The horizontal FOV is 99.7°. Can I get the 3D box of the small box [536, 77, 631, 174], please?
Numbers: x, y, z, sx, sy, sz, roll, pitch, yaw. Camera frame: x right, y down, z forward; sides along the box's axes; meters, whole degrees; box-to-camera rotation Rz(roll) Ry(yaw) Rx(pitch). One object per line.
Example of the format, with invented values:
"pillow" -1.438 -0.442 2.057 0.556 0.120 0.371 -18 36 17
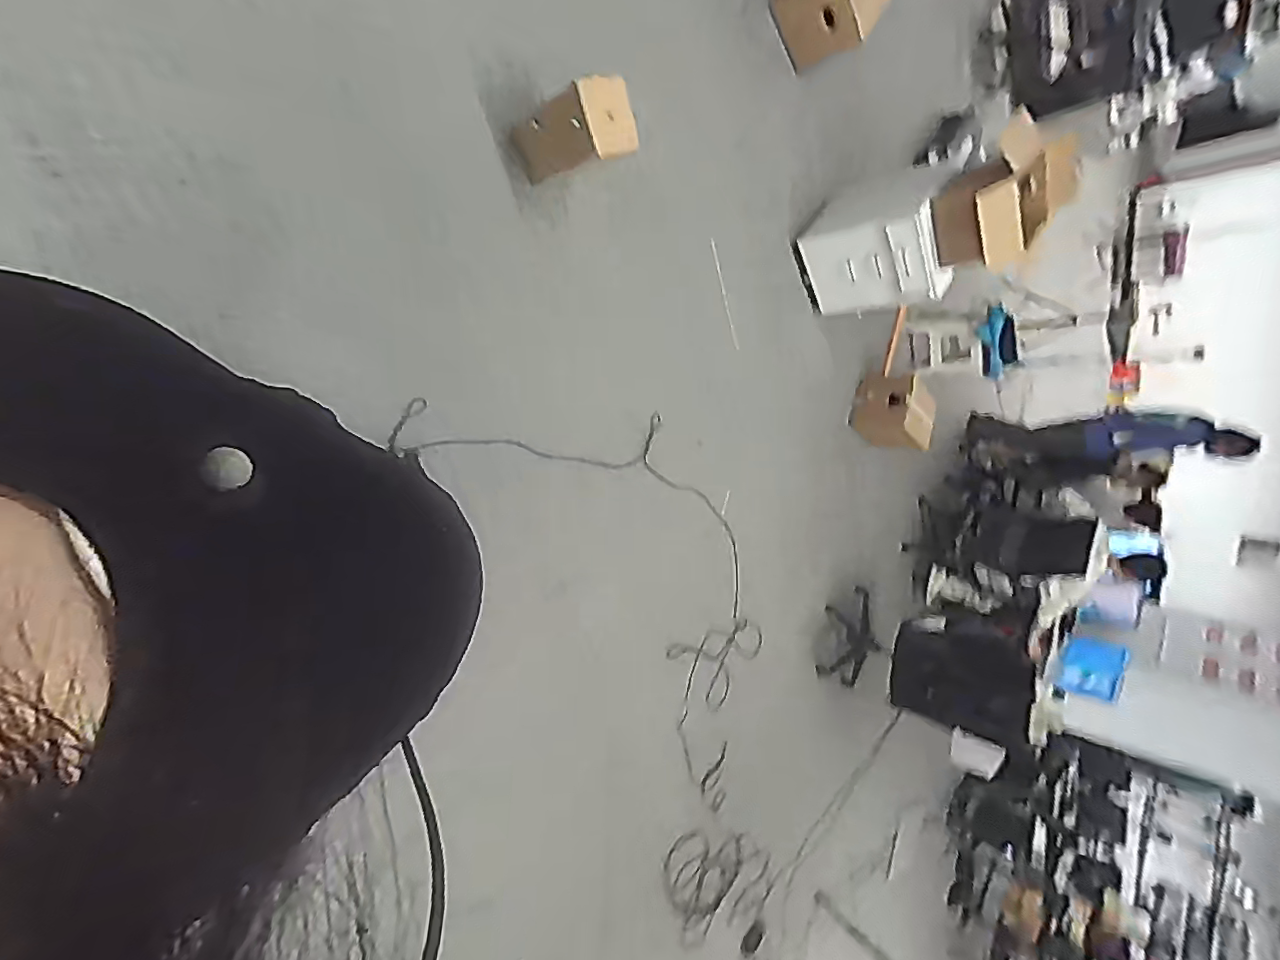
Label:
"small box" -0.158 -0.974 1.490 0.168 0.176 0.179 -36 119 -34
